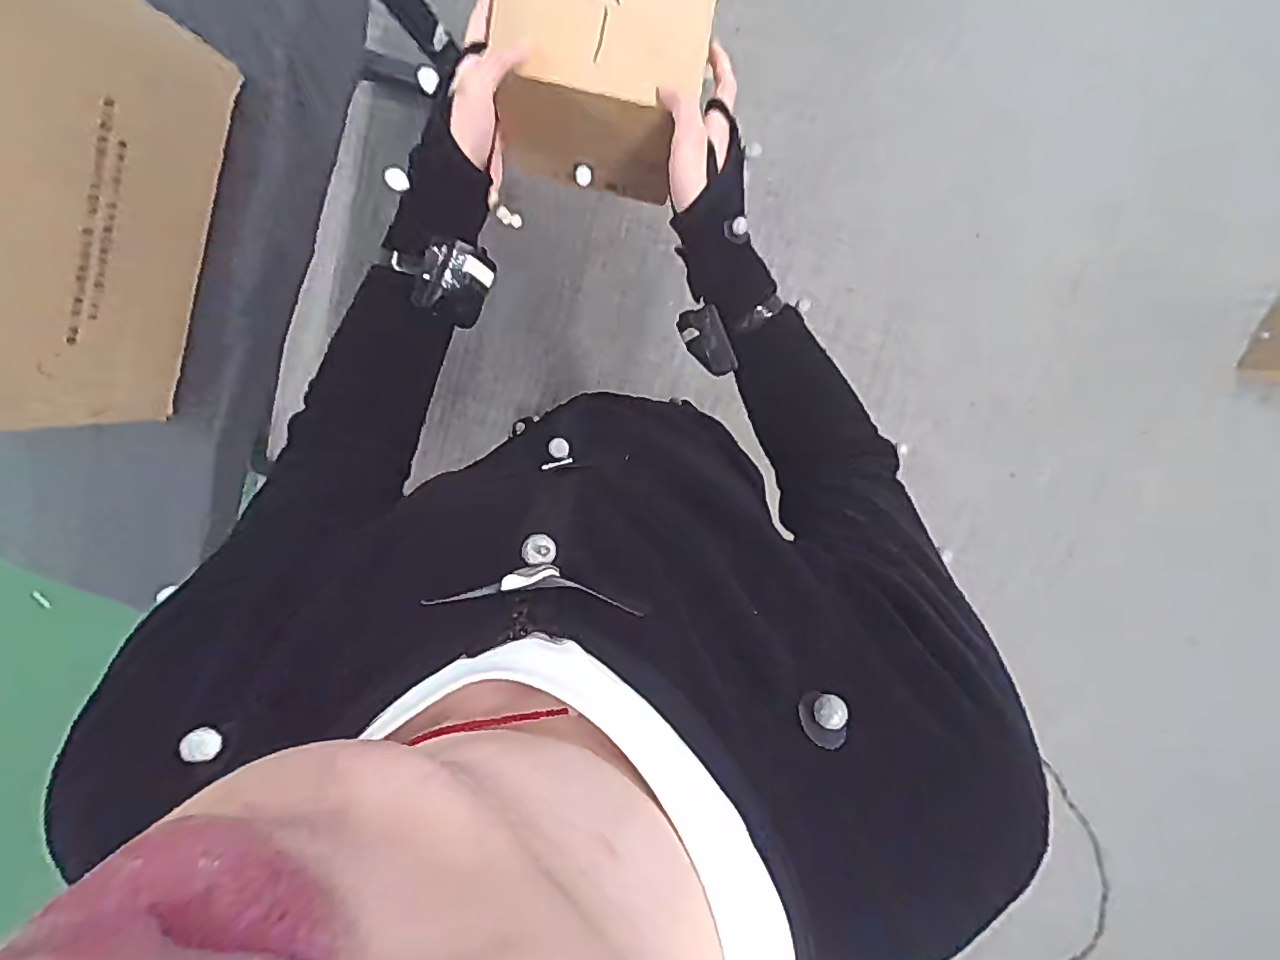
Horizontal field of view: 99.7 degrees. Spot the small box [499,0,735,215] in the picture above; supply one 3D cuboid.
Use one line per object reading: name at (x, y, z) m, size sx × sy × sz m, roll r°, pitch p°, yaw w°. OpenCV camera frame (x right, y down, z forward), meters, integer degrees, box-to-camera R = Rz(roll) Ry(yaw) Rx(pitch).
small box at (-0.020, -0.378, 0.490) m, size 0.168 × 0.176 × 0.179 m, roll 12°, pitch 92°, yaw -8°
